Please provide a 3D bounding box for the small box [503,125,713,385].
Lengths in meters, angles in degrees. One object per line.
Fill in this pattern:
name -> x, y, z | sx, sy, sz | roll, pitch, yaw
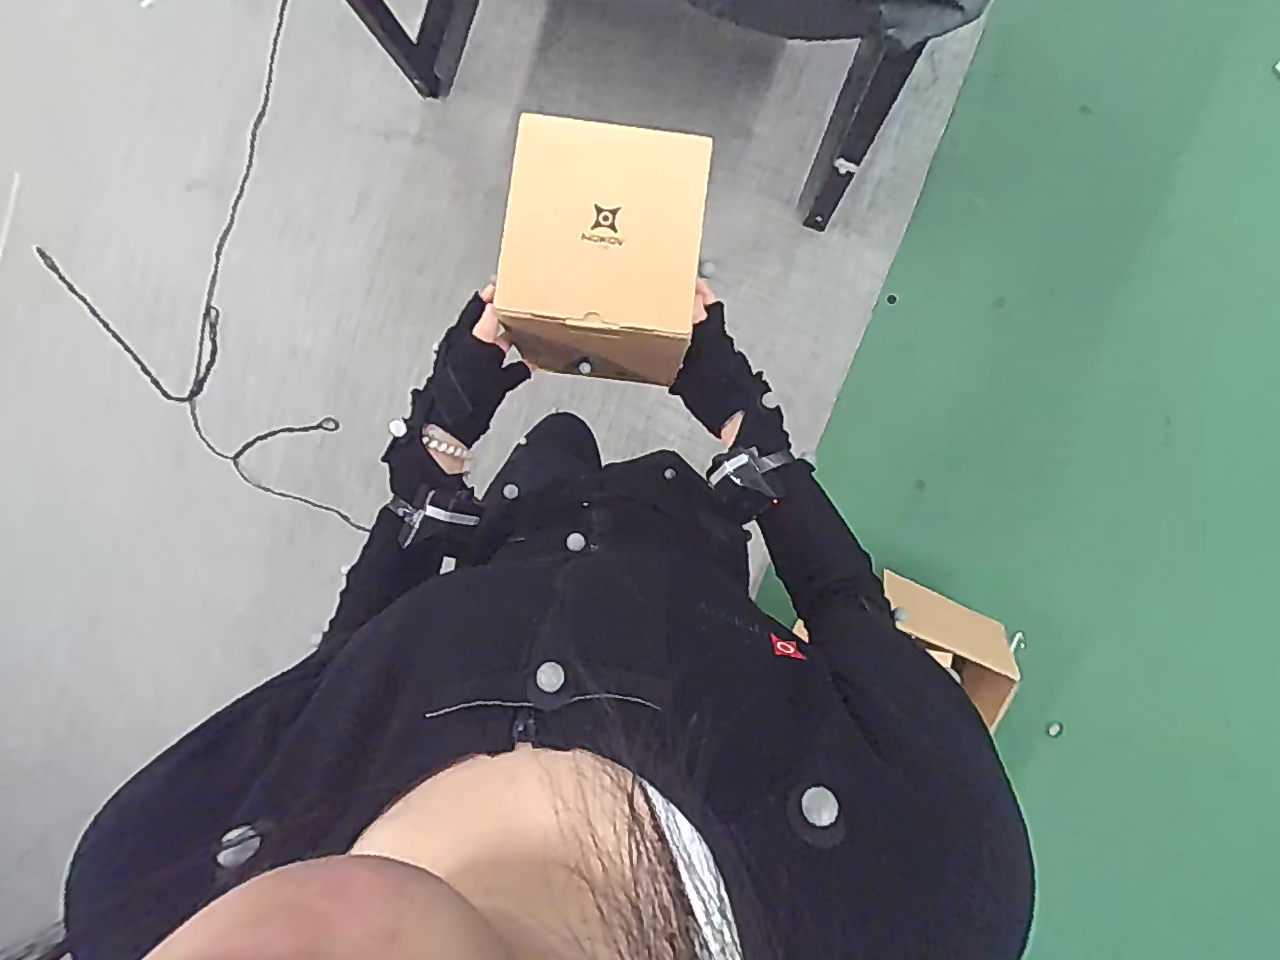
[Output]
small box -> -0.030, -0.209, 0.547 | 0.168, 0.176, 0.179 | 7, 87, -2
